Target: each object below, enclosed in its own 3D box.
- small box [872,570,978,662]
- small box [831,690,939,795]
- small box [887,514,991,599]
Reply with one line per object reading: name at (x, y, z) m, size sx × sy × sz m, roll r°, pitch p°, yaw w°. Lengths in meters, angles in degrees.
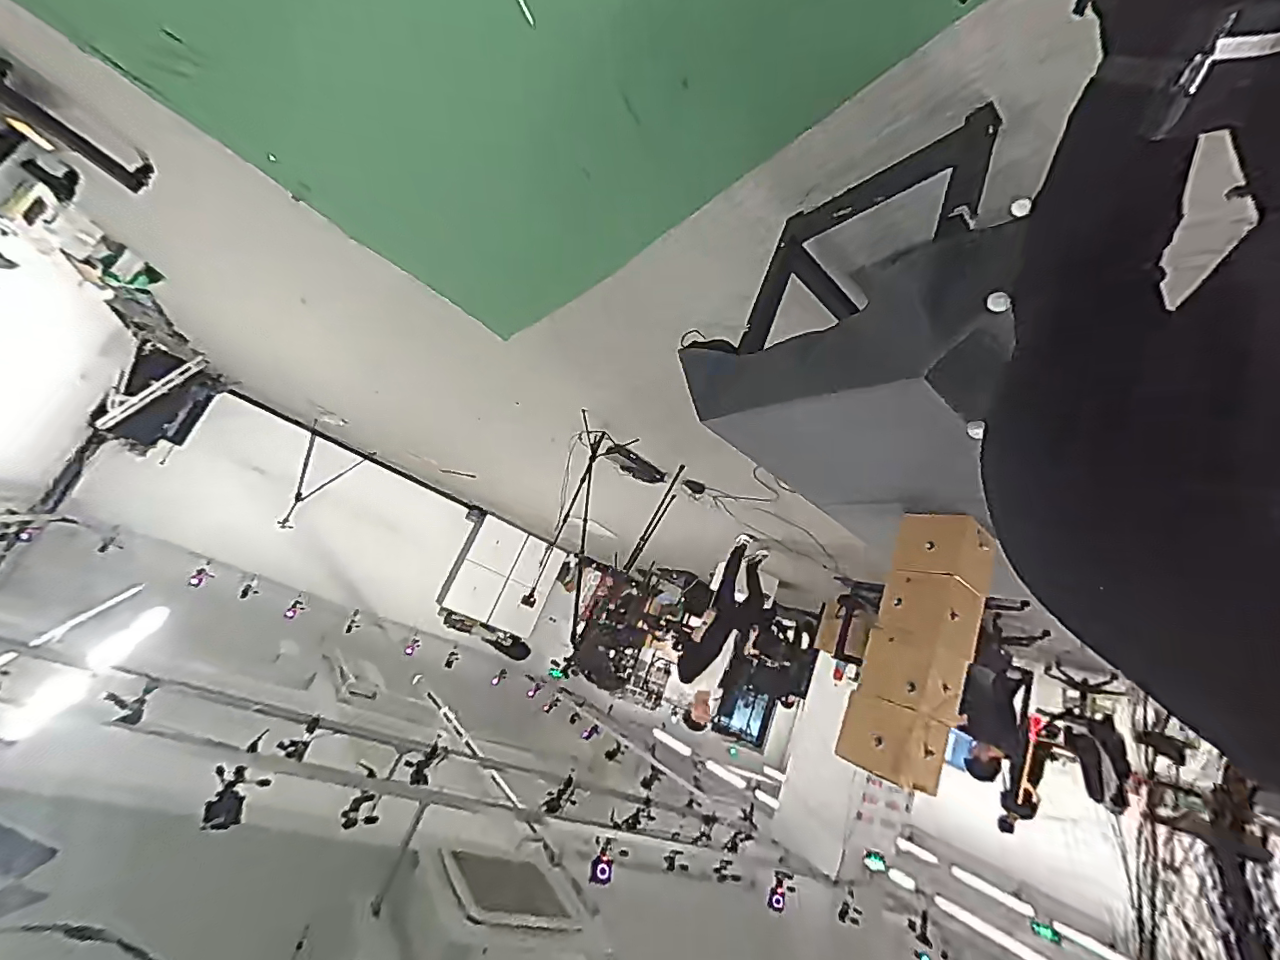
small box at (0.734, 0.342, 1.392) m, size 0.179 × 0.176 × 0.168 m, roll 31°, pitch 162°, yaw -27°
small box at (0.602, 0.633, 1.318) m, size 0.168 × 0.176 × 0.179 m, roll 32°, pitch 162°, yaw -28°
small box at (0.794, 0.197, 1.434) m, size 0.168 × 0.176 × 0.179 m, roll 32°, pitch 160°, yaw -29°
